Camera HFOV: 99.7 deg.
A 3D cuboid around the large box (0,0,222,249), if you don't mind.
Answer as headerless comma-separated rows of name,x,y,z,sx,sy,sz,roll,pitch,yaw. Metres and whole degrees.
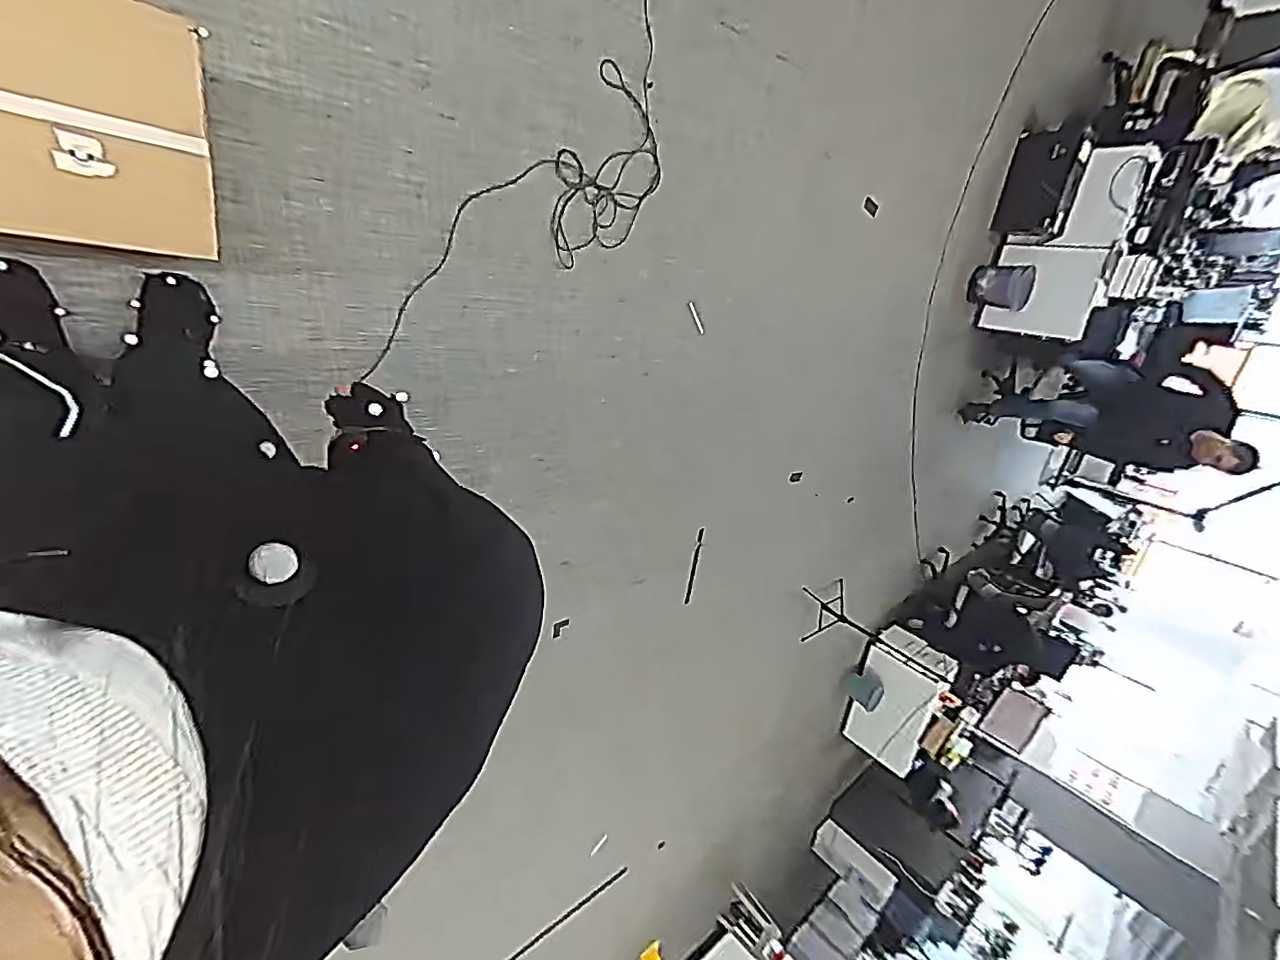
large box,-0.881,-0.532,0.772,0.408,0.320,0.320,-8,116,-41
